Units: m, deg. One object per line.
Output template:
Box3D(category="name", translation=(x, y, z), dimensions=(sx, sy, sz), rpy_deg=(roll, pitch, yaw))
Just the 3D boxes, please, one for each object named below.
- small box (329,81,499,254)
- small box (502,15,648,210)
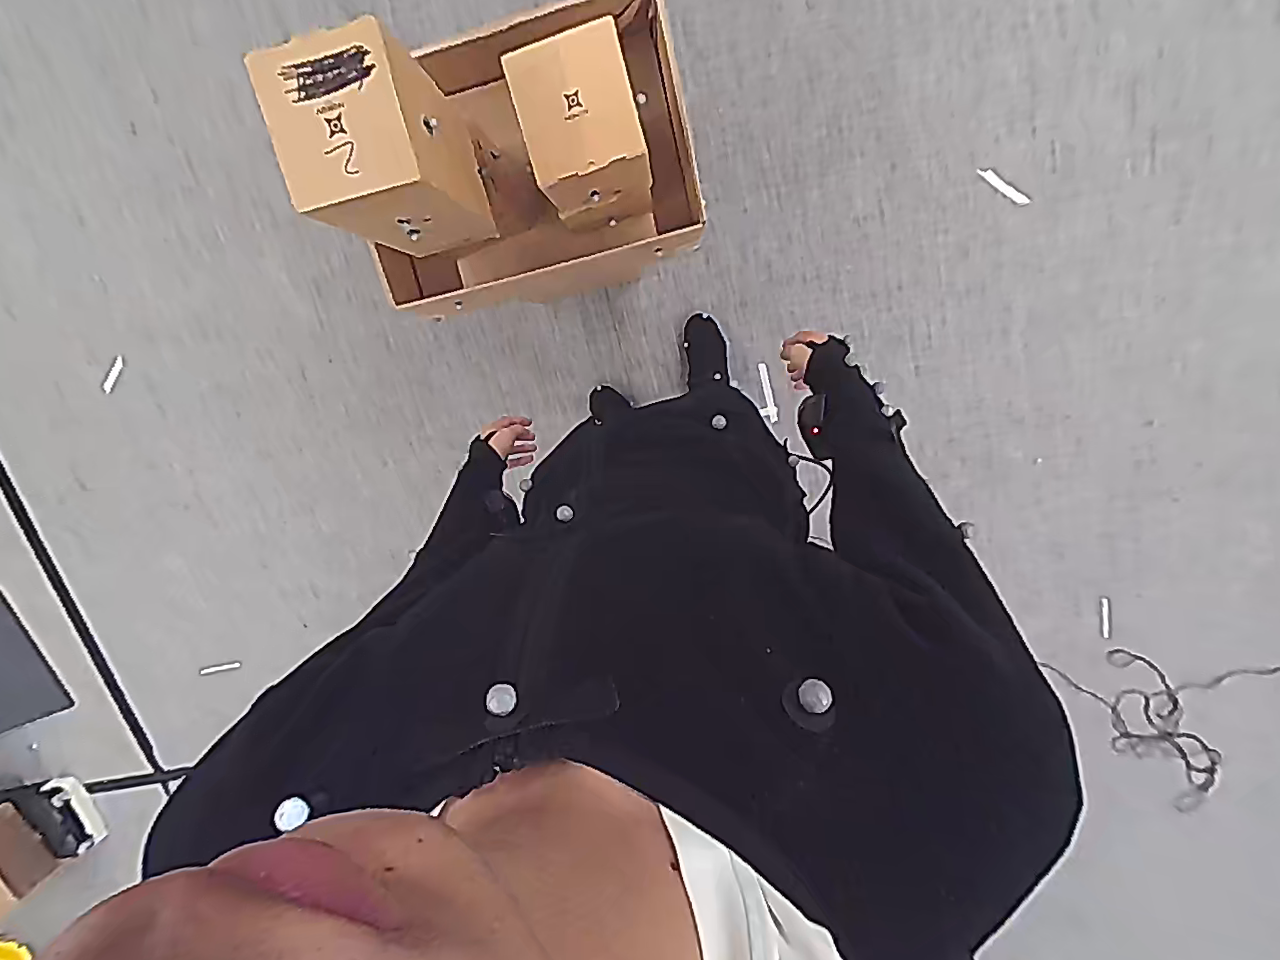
Box3D(category="small box", translation=(-0.347, -0.483, 0.864), dimensions=(0.168, 0.176, 0.179), rpy_deg=(-12, 102, 7))
Box3D(category="small box", translation=(-0.089, -0.547, 0.833), dimensions=(0.168, 0.176, 0.179), rpy_deg=(-15, 103, 7))
